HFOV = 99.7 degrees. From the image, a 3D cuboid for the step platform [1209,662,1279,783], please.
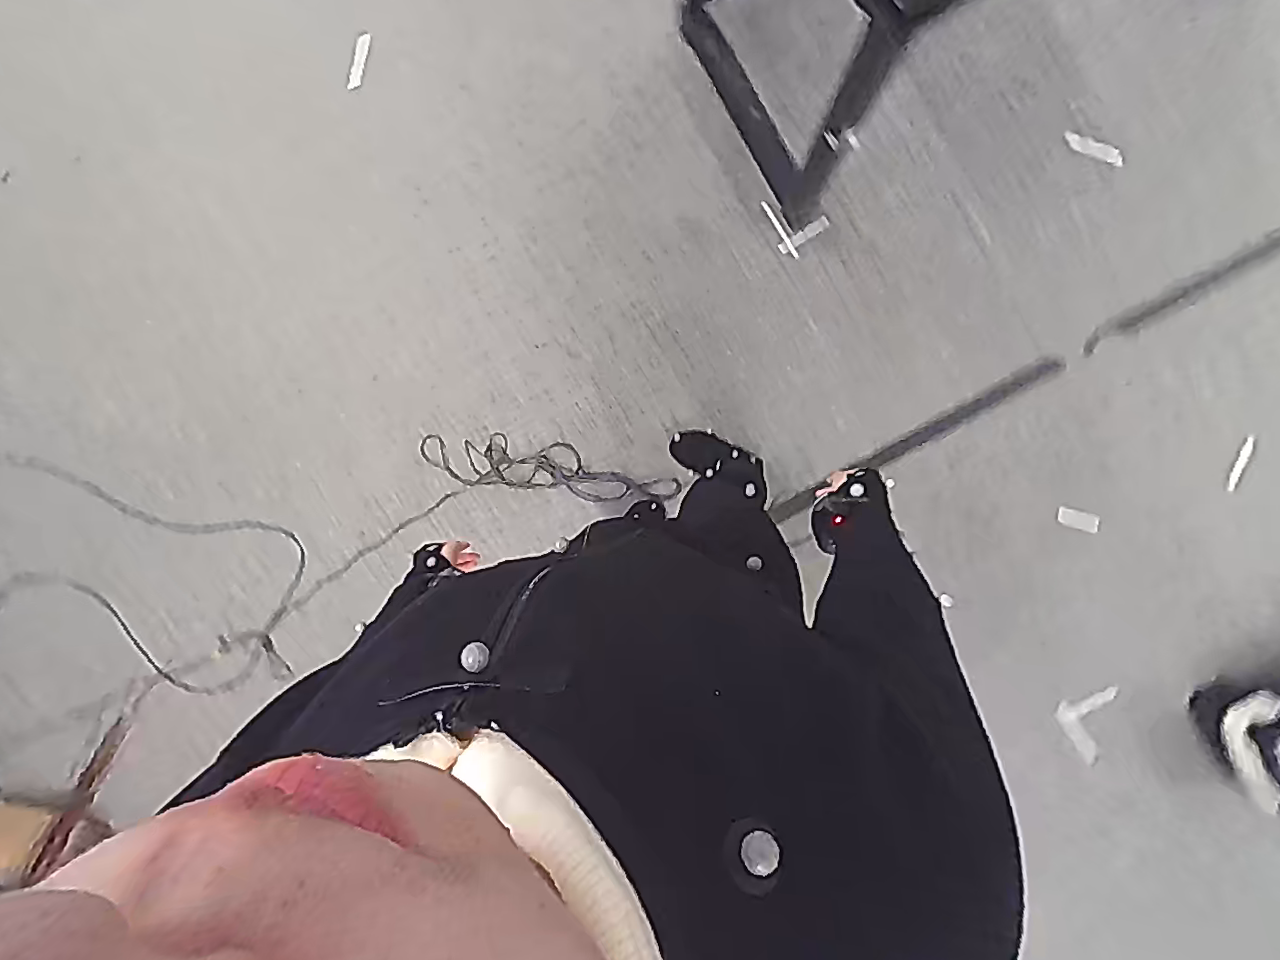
[{"bbox_3d":[1.812,0.500,1.275,0.684,0.204,0.286,-25,93,7],"label":"step platform"}]
